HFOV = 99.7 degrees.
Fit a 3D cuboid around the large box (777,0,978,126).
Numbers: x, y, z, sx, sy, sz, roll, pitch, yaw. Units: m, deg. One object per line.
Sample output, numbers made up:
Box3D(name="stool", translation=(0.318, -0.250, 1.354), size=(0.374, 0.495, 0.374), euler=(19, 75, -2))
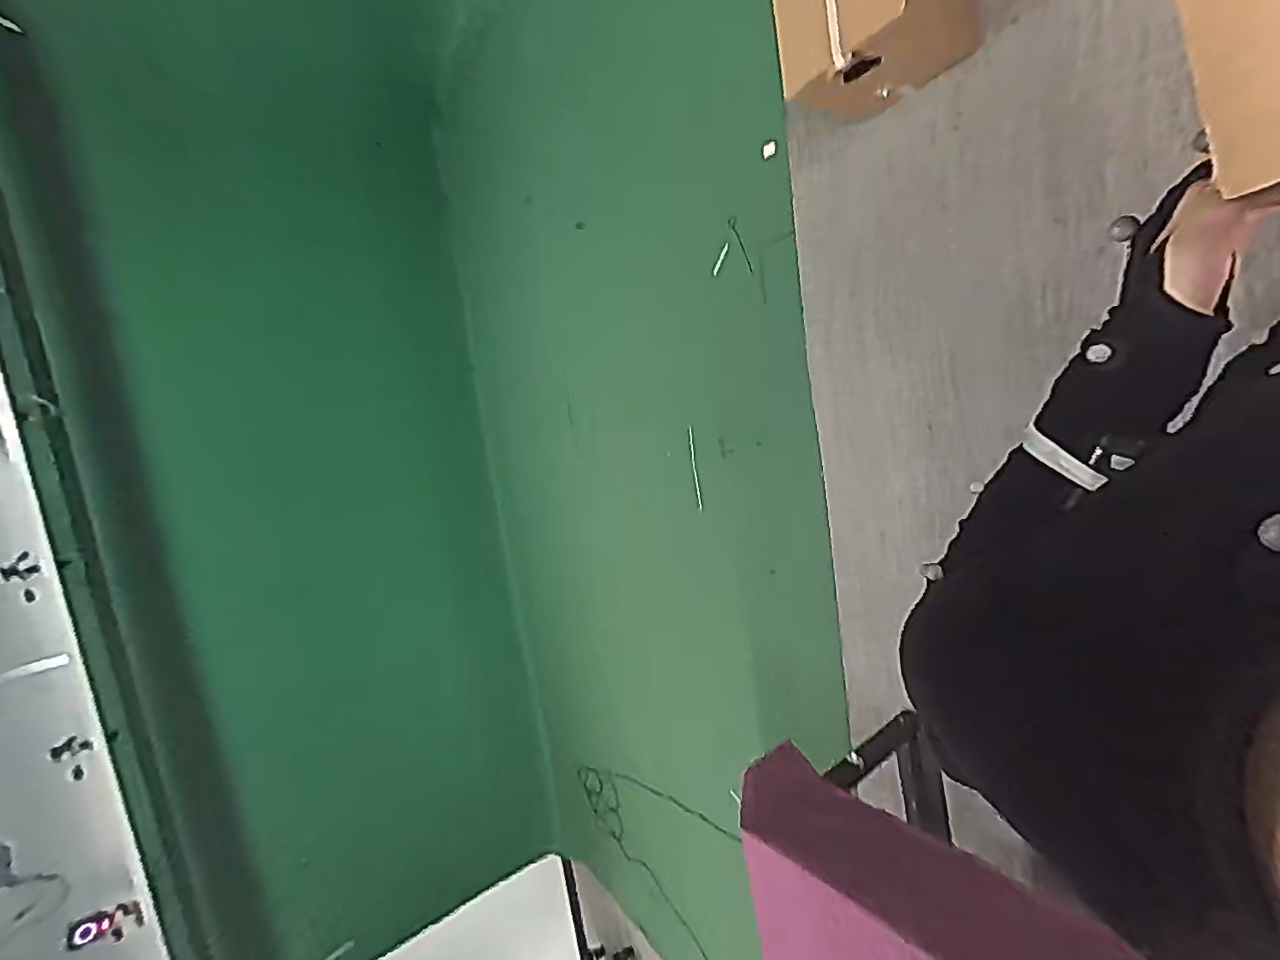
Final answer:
Box3D(name="large box", translation=(0.547, -1.147, 1.274), size=(0.320, 0.320, 0.408), euler=(-1, 99, 56))
